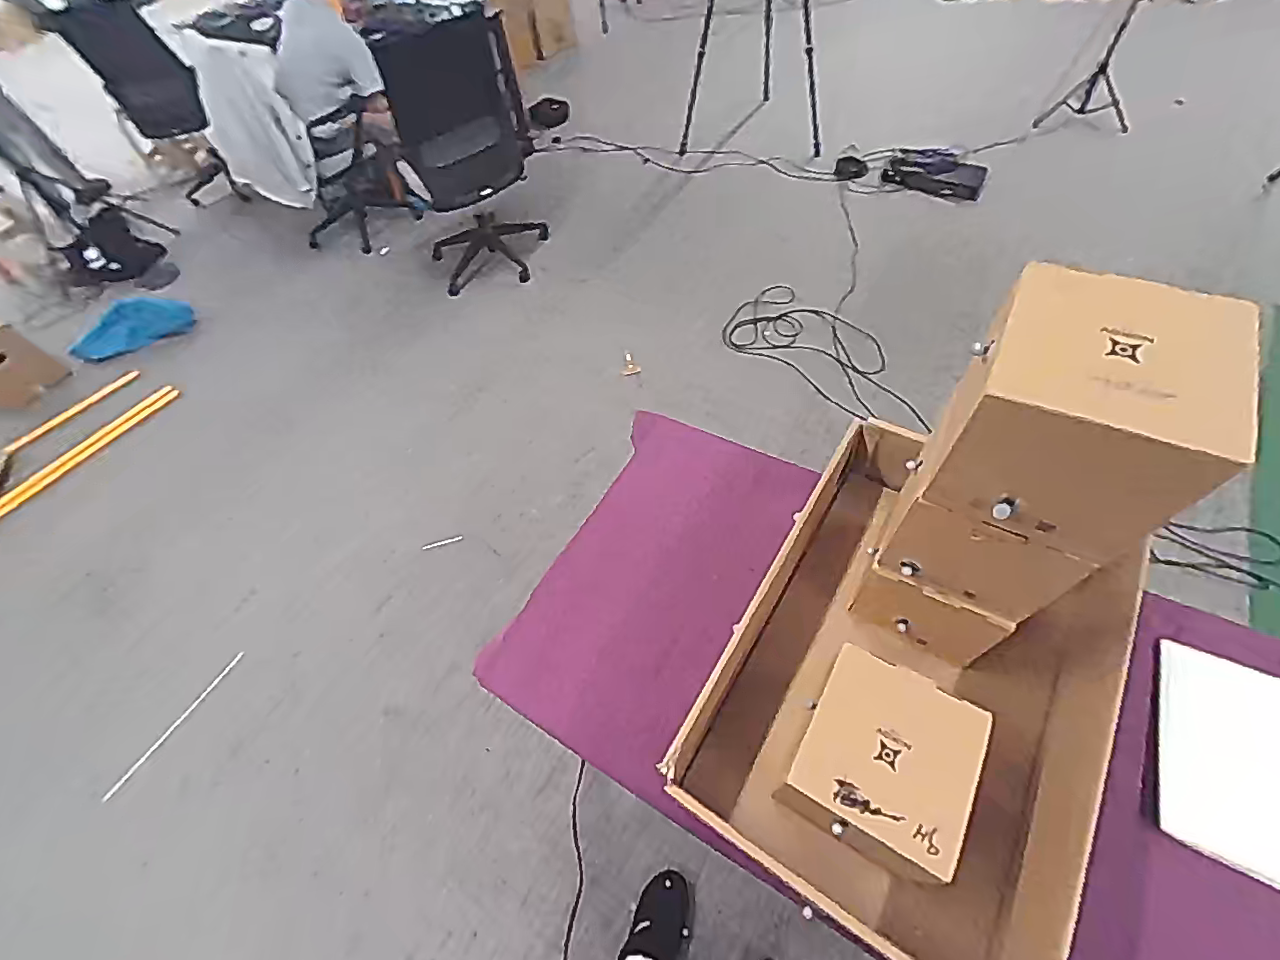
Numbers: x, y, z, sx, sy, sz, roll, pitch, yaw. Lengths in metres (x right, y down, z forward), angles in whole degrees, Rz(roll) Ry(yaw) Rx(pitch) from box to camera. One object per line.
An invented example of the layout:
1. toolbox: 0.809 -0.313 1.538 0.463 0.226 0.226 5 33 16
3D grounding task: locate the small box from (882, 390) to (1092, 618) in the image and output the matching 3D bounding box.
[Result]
1. small box: 0.401 0.032 0.628 0.168 0.176 0.179 23 62 21

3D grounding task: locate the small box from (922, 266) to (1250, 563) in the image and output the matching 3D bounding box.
1. small box: 0.383 -0.056 0.492 0.168 0.176 0.179 23 63 22

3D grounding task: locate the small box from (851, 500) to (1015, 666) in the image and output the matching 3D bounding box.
1. small box: 0.415 0.129 0.760 0.168 0.176 0.179 24 63 21
